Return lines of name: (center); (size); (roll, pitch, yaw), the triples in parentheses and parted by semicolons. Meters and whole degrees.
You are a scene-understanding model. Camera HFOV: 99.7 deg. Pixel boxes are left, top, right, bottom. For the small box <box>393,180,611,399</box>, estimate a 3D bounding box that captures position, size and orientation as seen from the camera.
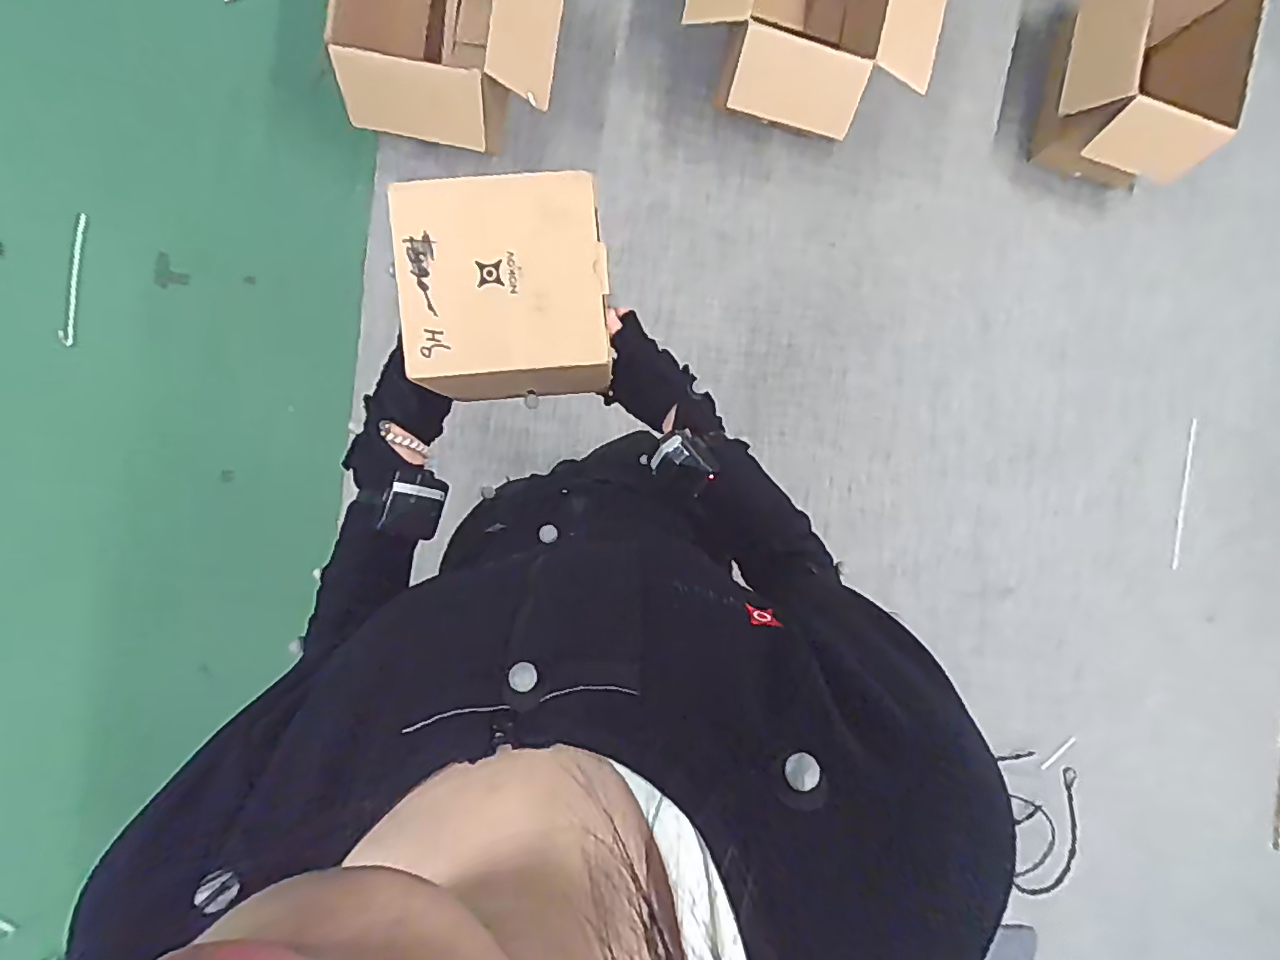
small box: (-0.125, -0.177, 0.545); (0.179, 0.176, 0.168); (-4, 91, -5)
